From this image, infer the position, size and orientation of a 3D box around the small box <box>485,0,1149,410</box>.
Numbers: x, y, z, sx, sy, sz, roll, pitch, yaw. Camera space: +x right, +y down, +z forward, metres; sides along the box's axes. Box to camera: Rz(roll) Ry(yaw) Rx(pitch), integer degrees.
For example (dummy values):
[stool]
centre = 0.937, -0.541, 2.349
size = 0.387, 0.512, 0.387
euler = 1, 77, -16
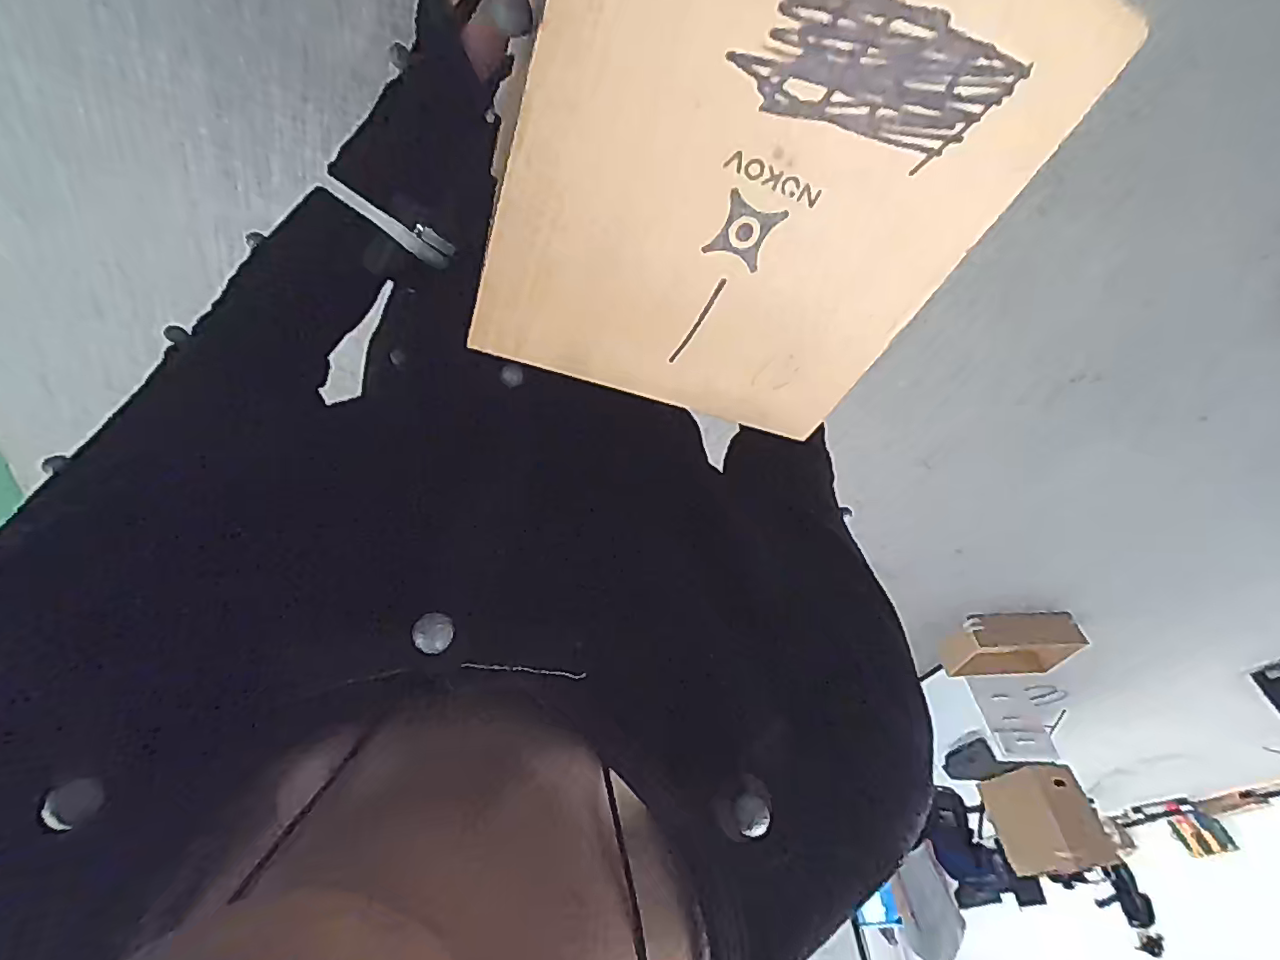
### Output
[small box]
centre = 0.038, -0.165, 0.237
size = 0.168, 0.176, 0.179
euler = 13, 134, -20
